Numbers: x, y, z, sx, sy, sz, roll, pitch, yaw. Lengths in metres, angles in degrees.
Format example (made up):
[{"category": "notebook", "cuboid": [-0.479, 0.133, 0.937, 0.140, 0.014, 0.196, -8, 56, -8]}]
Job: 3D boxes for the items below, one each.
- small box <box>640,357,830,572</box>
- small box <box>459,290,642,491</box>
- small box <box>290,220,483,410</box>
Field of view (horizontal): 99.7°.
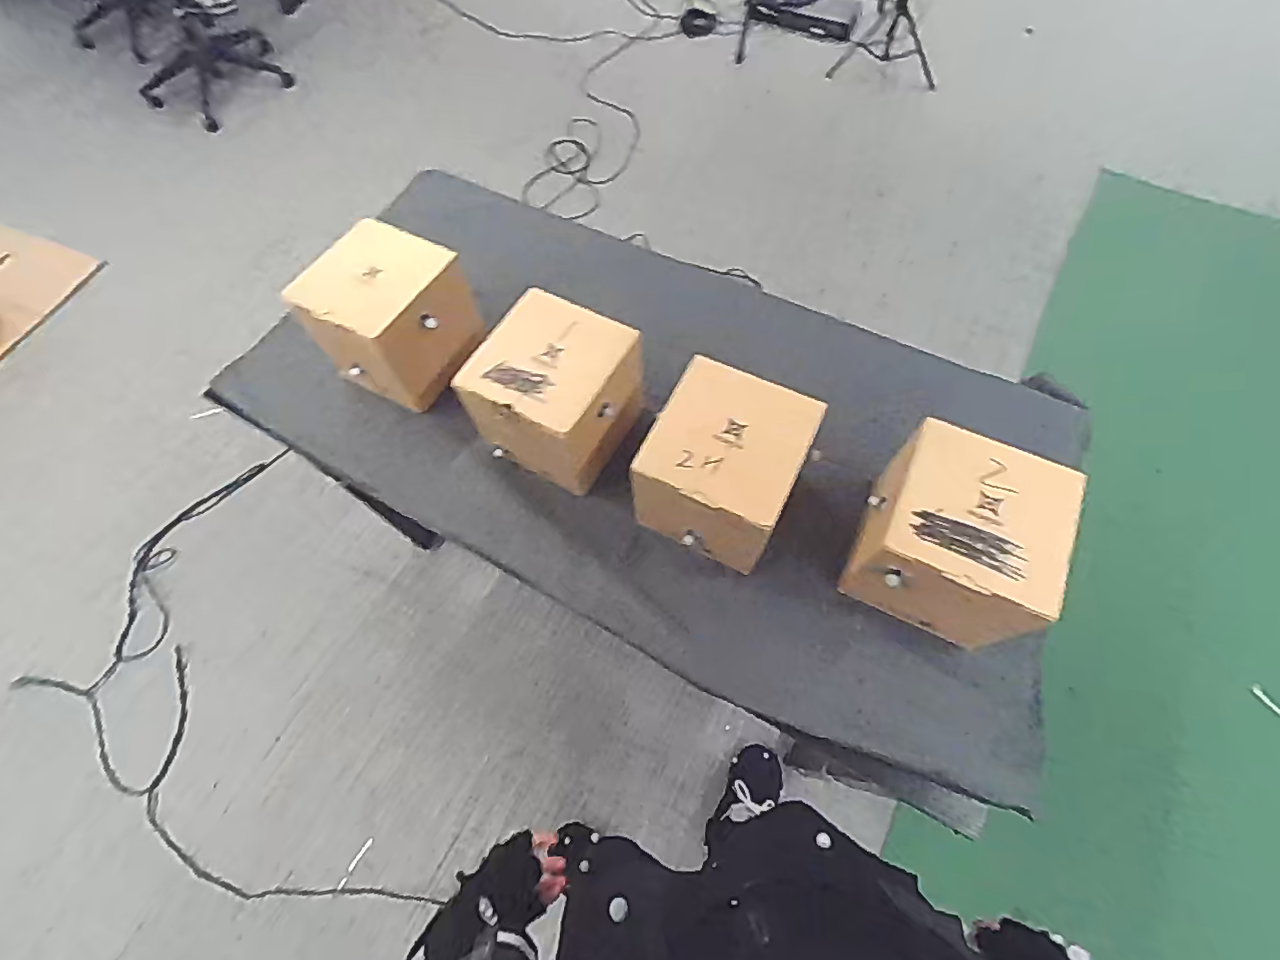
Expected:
[{"category": "small box", "cuboid": [0.110, -0.013, 0.676, 0.168, 0.176, 0.179, 25, 68, 14]}, {"category": "small box", "cuboid": [-0.104, -0.113, 0.733, 0.168, 0.176, 0.179, 27, 68, 14]}, {"category": "small box", "cuboid": [-0.354, -0.239, 0.801, 0.168, 0.176, 0.179, 26, 67, 13]}]
